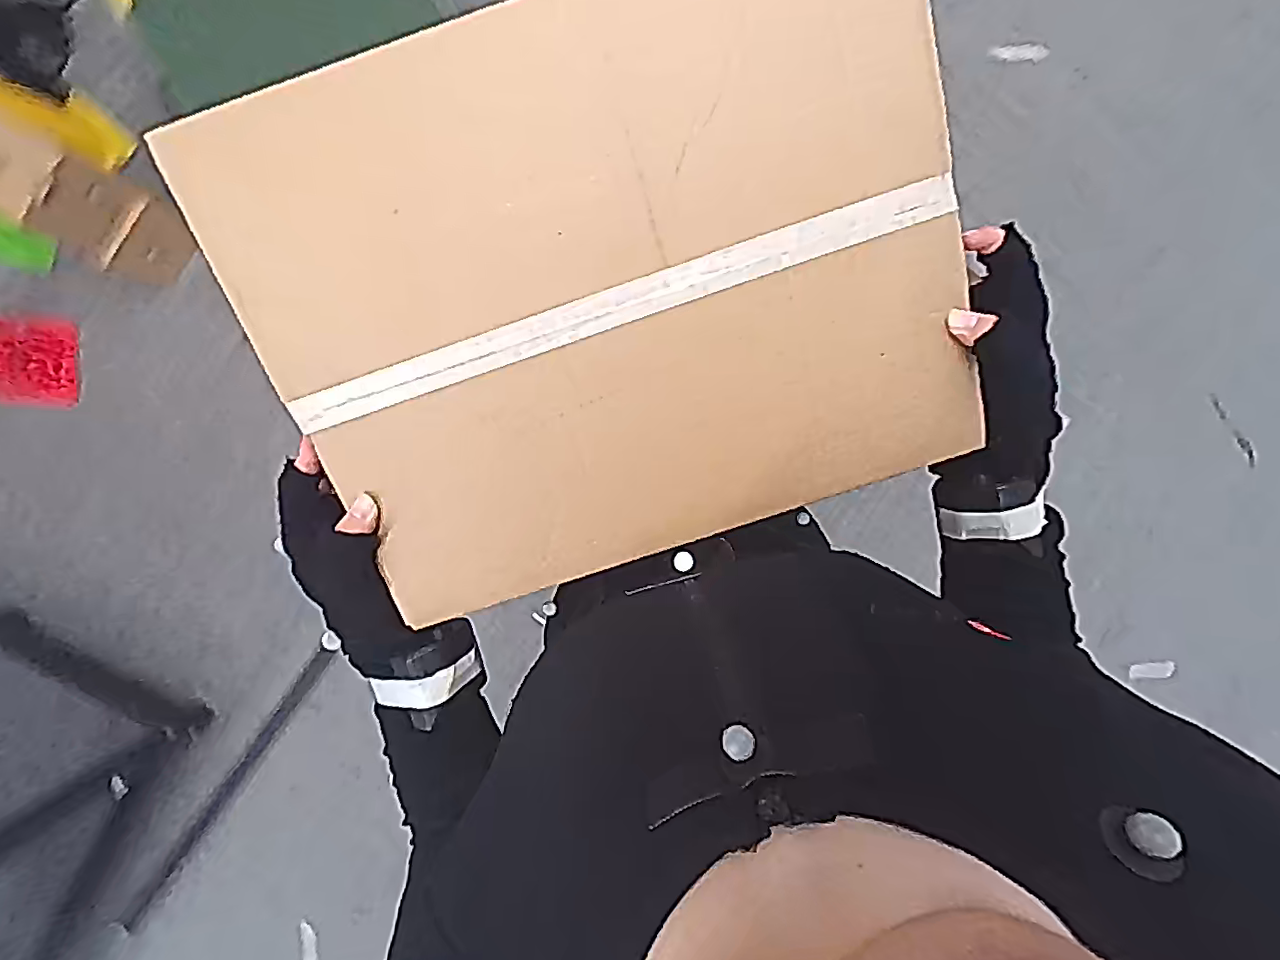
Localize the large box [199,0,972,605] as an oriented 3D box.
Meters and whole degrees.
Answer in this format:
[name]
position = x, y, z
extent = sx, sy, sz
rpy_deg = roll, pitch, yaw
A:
[large box]
position = -0.017, -0.150, 0.468
extent = 0.408, 0.320, 0.320
rpy_deg = -17, 108, 2
